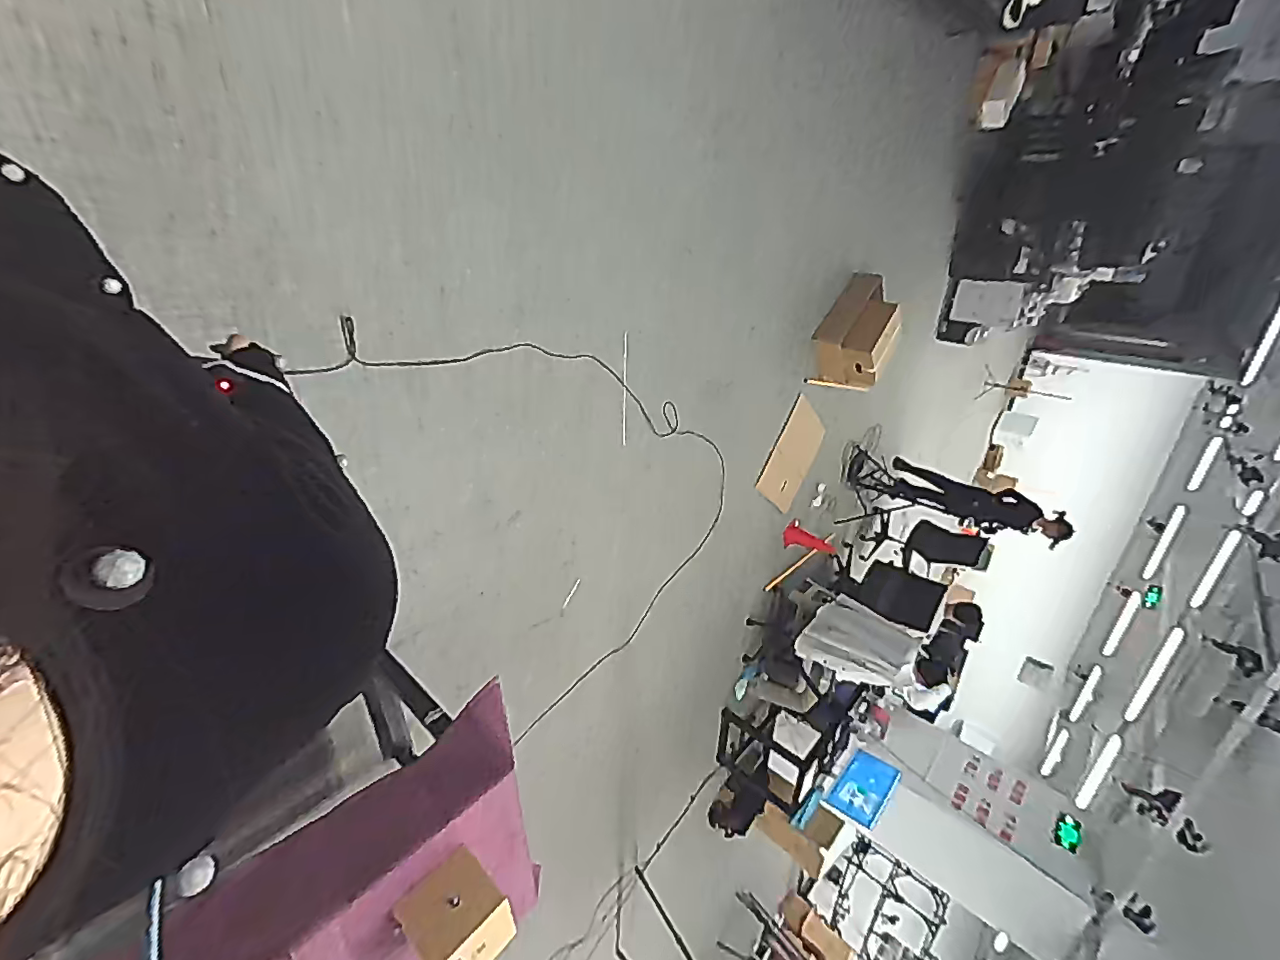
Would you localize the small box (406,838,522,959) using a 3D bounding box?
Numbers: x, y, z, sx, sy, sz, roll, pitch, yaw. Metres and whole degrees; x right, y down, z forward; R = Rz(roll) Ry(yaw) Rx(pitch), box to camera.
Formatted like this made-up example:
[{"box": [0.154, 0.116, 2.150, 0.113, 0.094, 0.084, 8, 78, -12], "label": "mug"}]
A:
[{"box": [-0.388, 0.946, 1.184, 0.179, 0.176, 0.168, -30, 130, -40], "label": "small box"}]
